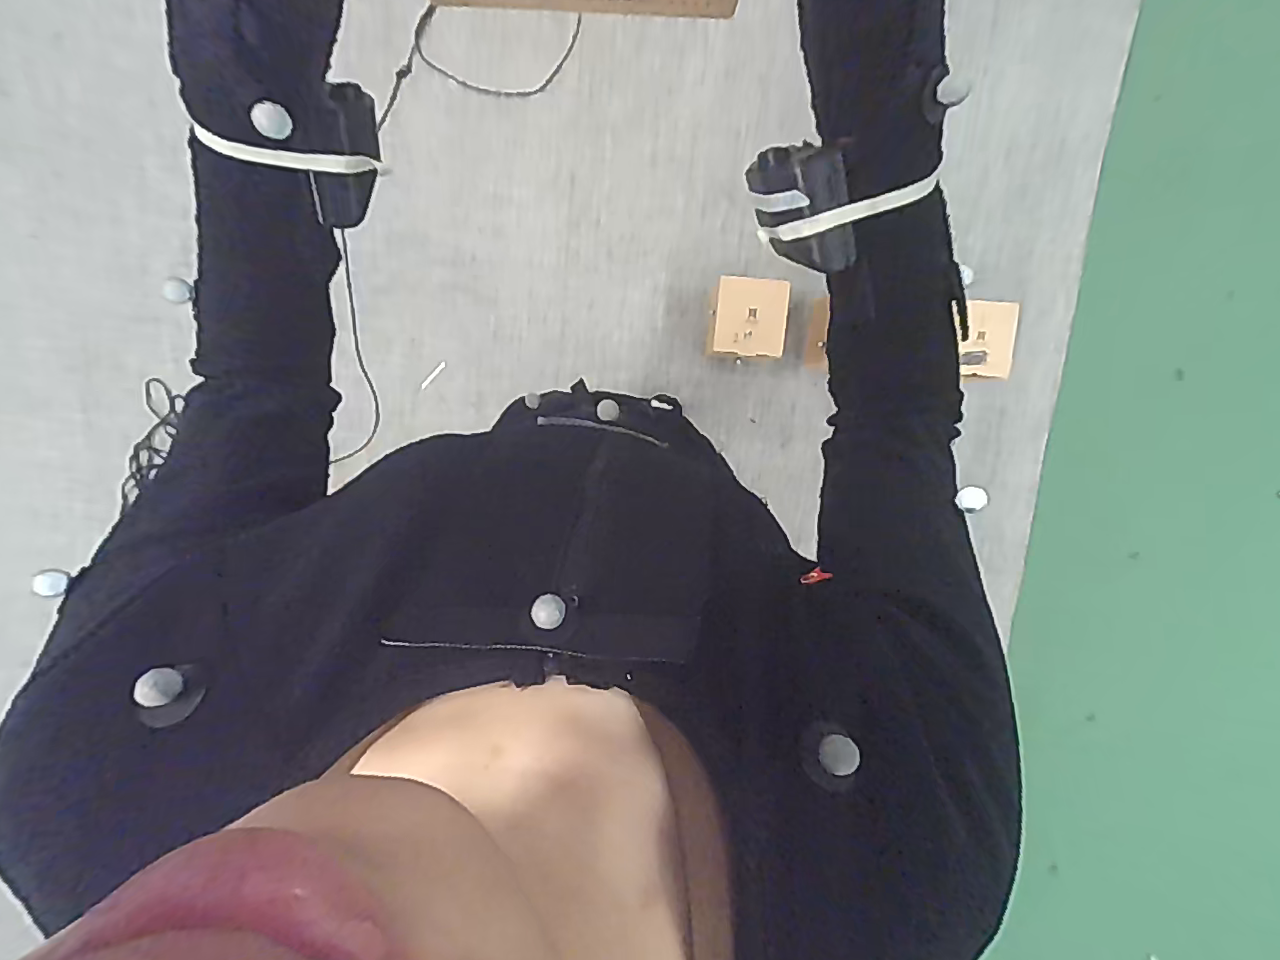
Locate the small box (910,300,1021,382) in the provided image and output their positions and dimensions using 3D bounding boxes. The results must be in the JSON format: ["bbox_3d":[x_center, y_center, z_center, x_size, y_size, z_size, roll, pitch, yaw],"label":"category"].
[{"bbox_3d":[0.794,-0.337,1.340,0.168,0.176,0.179,4,98,-1],"label":"small box"}]

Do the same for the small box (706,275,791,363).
[{"bbox_3d":[0.259,-0.388,1.330,0.168,0.176,0.179,5,99,0],"label":"small box"}]

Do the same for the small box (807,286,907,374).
[{"bbox_3d":[0.527,-0.363,1.337,0.168,0.176,0.179,7,99,-1],"label":"small box"}]
